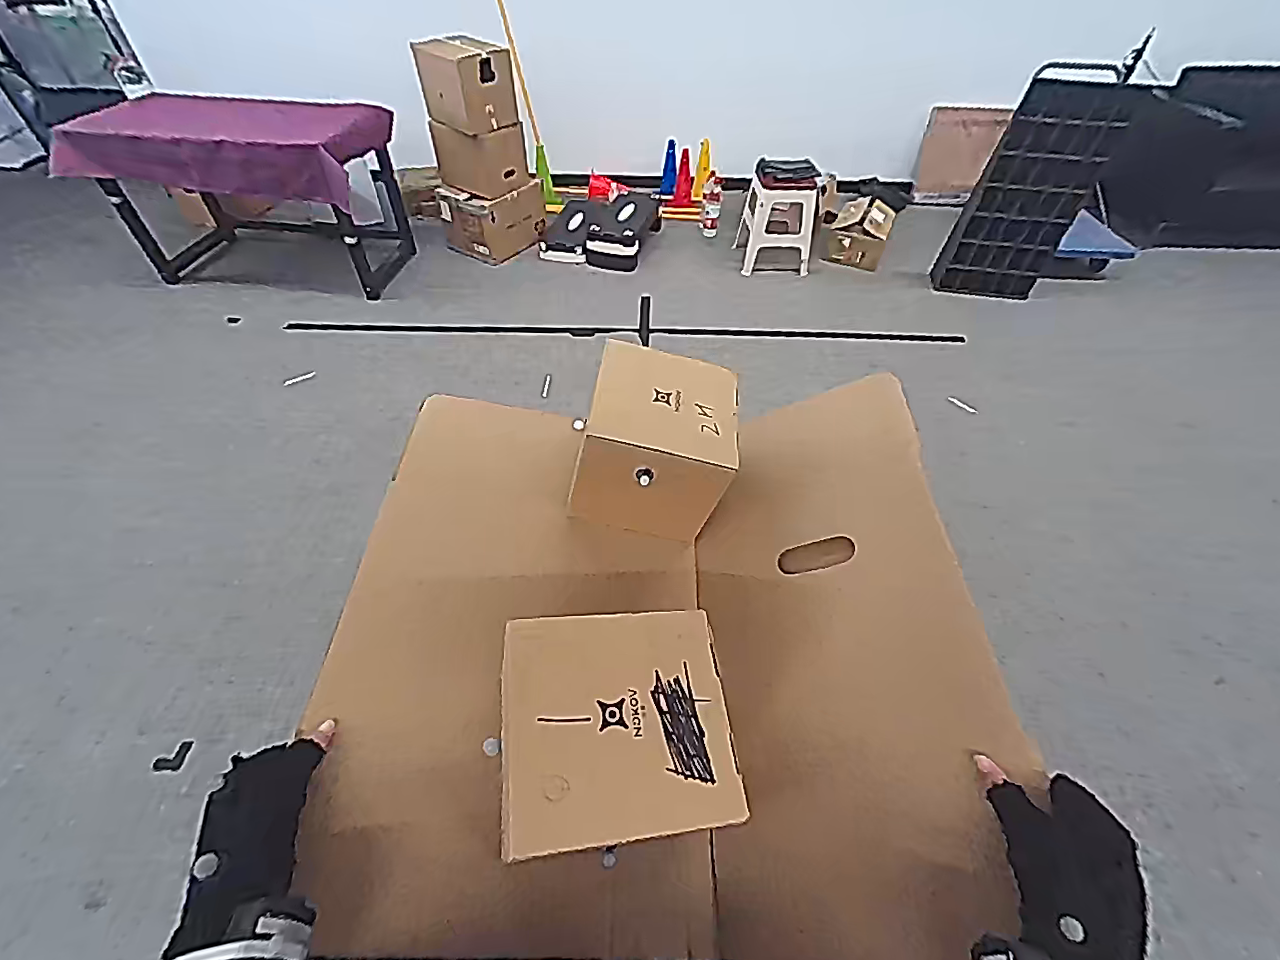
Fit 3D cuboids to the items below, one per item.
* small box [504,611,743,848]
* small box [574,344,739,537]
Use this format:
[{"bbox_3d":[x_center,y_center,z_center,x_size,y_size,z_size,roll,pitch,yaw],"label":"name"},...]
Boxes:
[{"bbox_3d":[-0.031,0.229,0.498,0.179,0.176,0.168,1,55,-15],"label":"small box"},{"bbox_3d":[0.018,-0.044,0.711,0.179,0.176,0.168,14,53,-7],"label":"small box"}]
